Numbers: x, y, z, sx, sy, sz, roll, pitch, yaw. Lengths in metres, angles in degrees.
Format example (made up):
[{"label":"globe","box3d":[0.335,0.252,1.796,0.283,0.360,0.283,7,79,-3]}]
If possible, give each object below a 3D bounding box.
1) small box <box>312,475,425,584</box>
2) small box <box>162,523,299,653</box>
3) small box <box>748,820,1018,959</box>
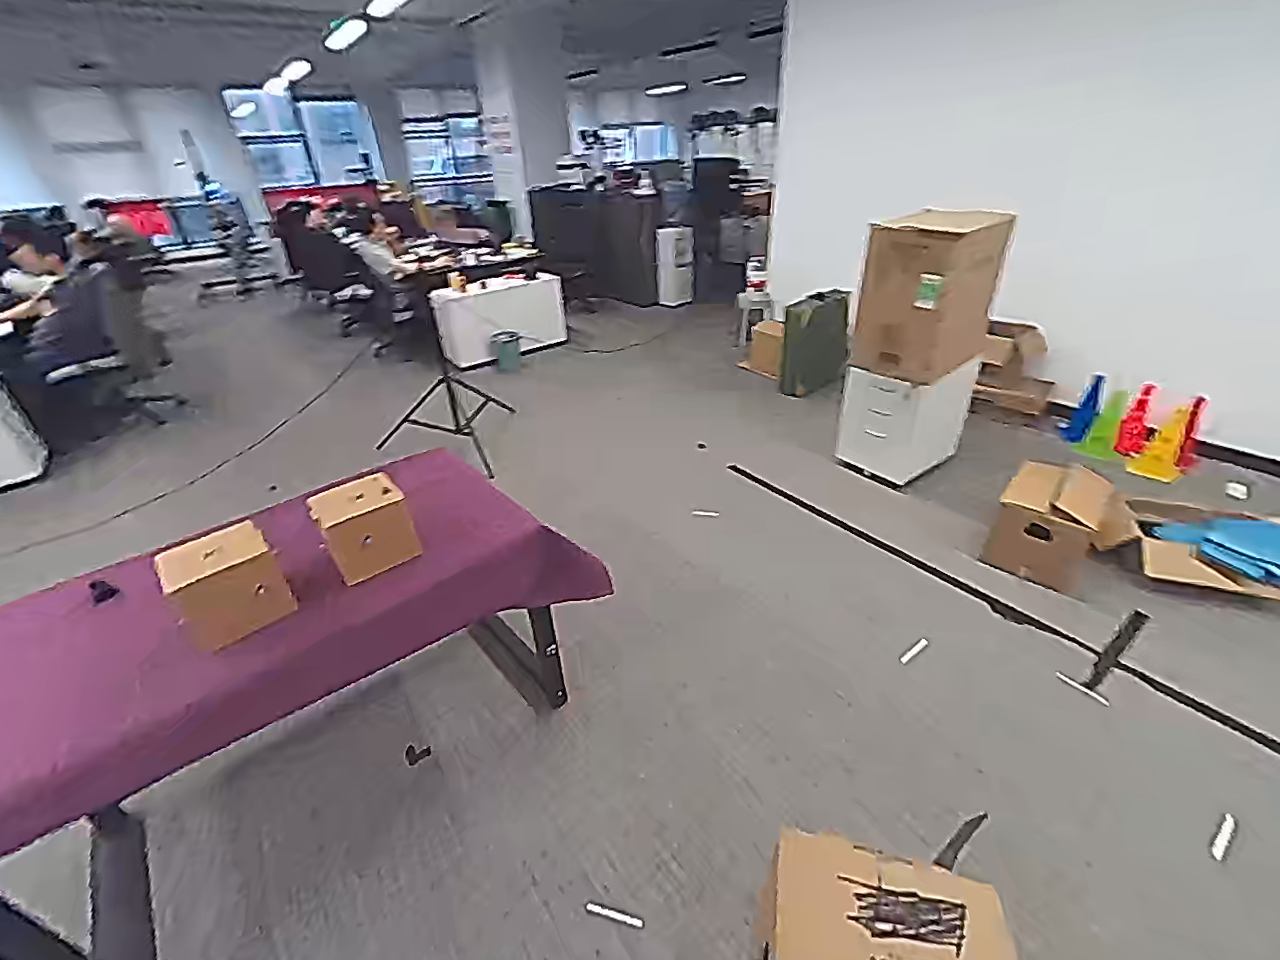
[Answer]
[{"label":"small box","box3d":[-0.646,0.117,1.296,0.179,0.176,0.168,-27,38,-31]},{"label":"small box","box3d":[-0.855,0.224,1.144,0.179,0.176,0.168,-30,39,-35]},{"label":"small box","box3d":[0.169,0.402,0.395,0.168,0.176,0.179,8,26,11]}]
